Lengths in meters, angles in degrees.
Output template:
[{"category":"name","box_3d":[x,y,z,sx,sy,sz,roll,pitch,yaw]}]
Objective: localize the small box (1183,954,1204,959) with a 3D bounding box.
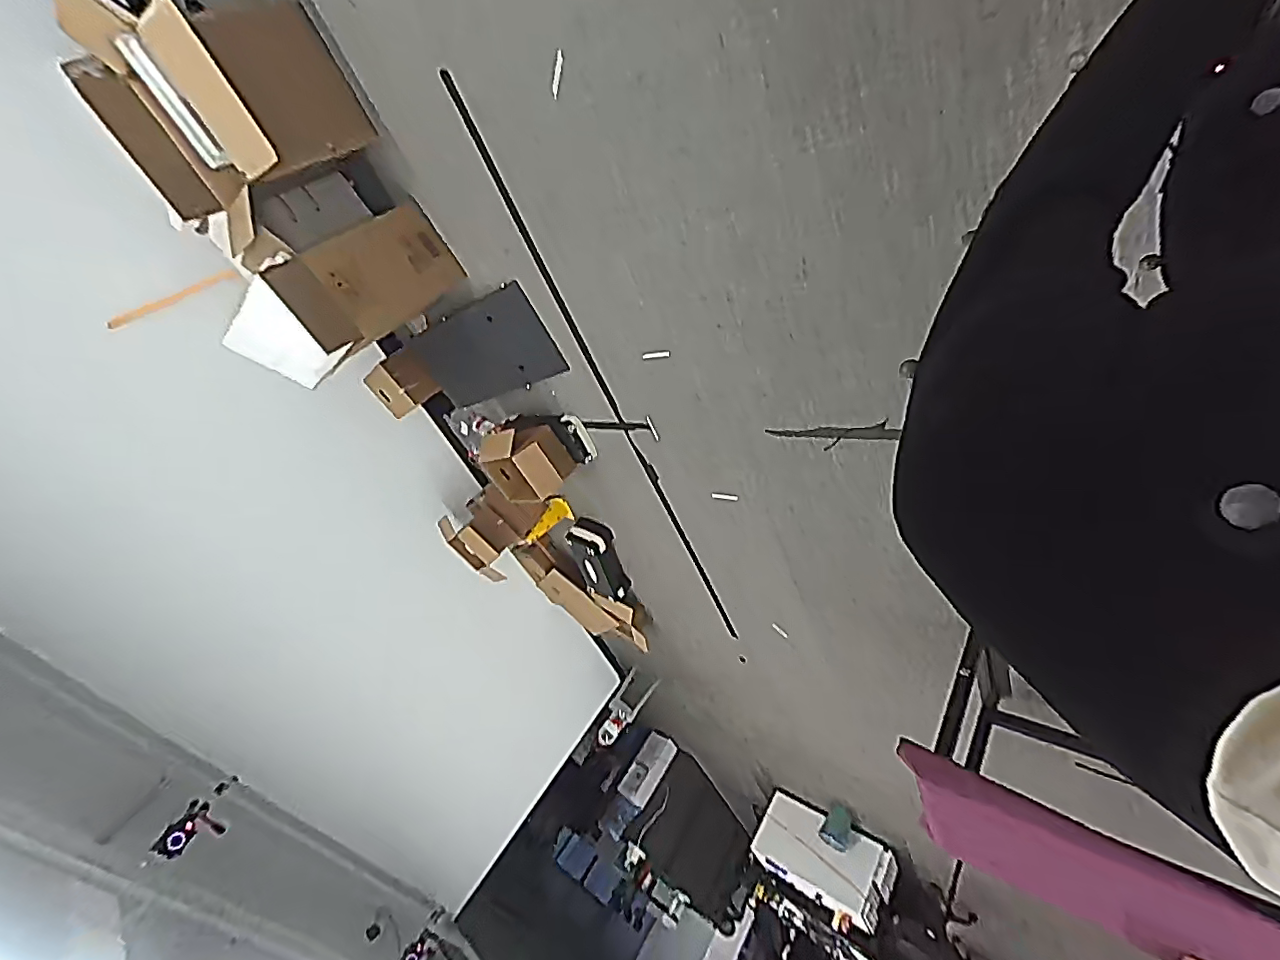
[{"category":"small box","box_3d":[1.658,1.517,1.544,0.168,0.176,0.179,10,137,42]}]
